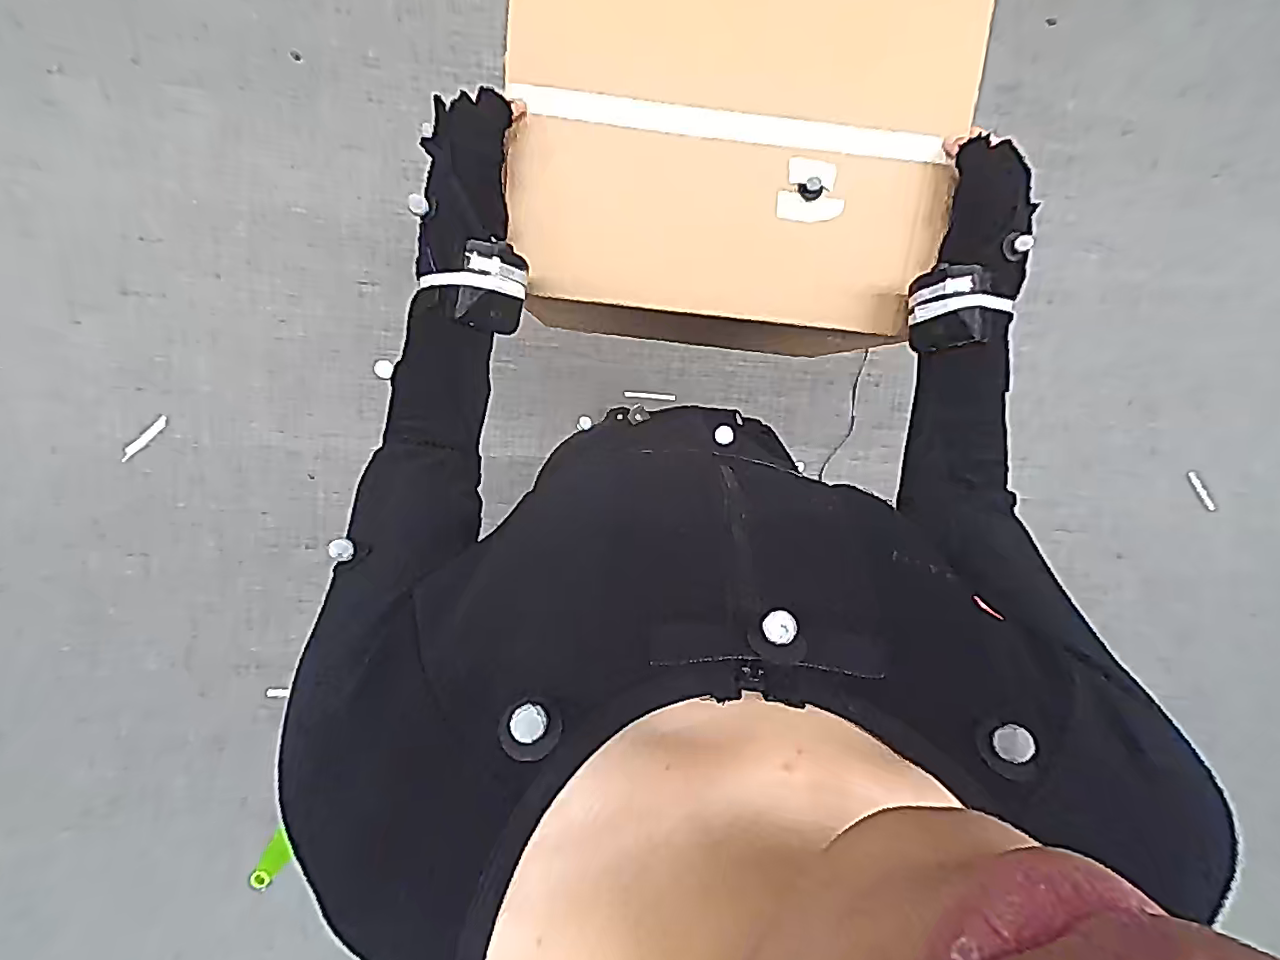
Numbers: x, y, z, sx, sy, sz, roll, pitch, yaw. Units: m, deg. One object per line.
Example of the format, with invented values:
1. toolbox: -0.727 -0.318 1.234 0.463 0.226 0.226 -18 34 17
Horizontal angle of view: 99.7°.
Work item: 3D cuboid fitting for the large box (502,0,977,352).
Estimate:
1. large box: 0.076 -0.330 0.620 0.408 0.320 0.320 5 99 -4
